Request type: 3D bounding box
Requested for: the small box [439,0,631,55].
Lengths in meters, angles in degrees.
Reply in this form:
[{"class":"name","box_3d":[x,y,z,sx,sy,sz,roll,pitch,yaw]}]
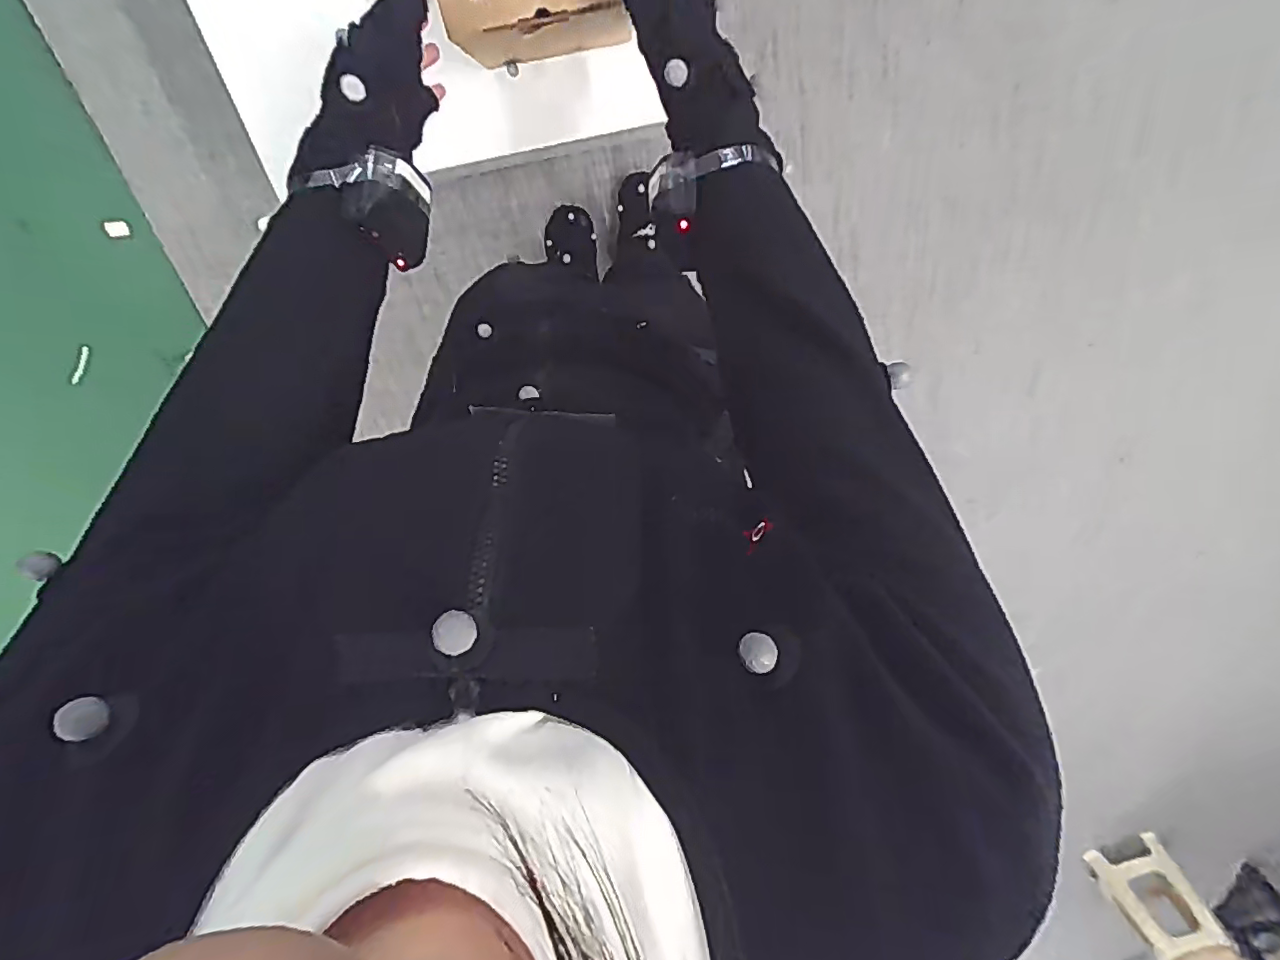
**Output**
[{"class":"small box","box_3d":[-0.100,-0.508,0.483,0.168,0.176,0.179,-9,119,3]}]
